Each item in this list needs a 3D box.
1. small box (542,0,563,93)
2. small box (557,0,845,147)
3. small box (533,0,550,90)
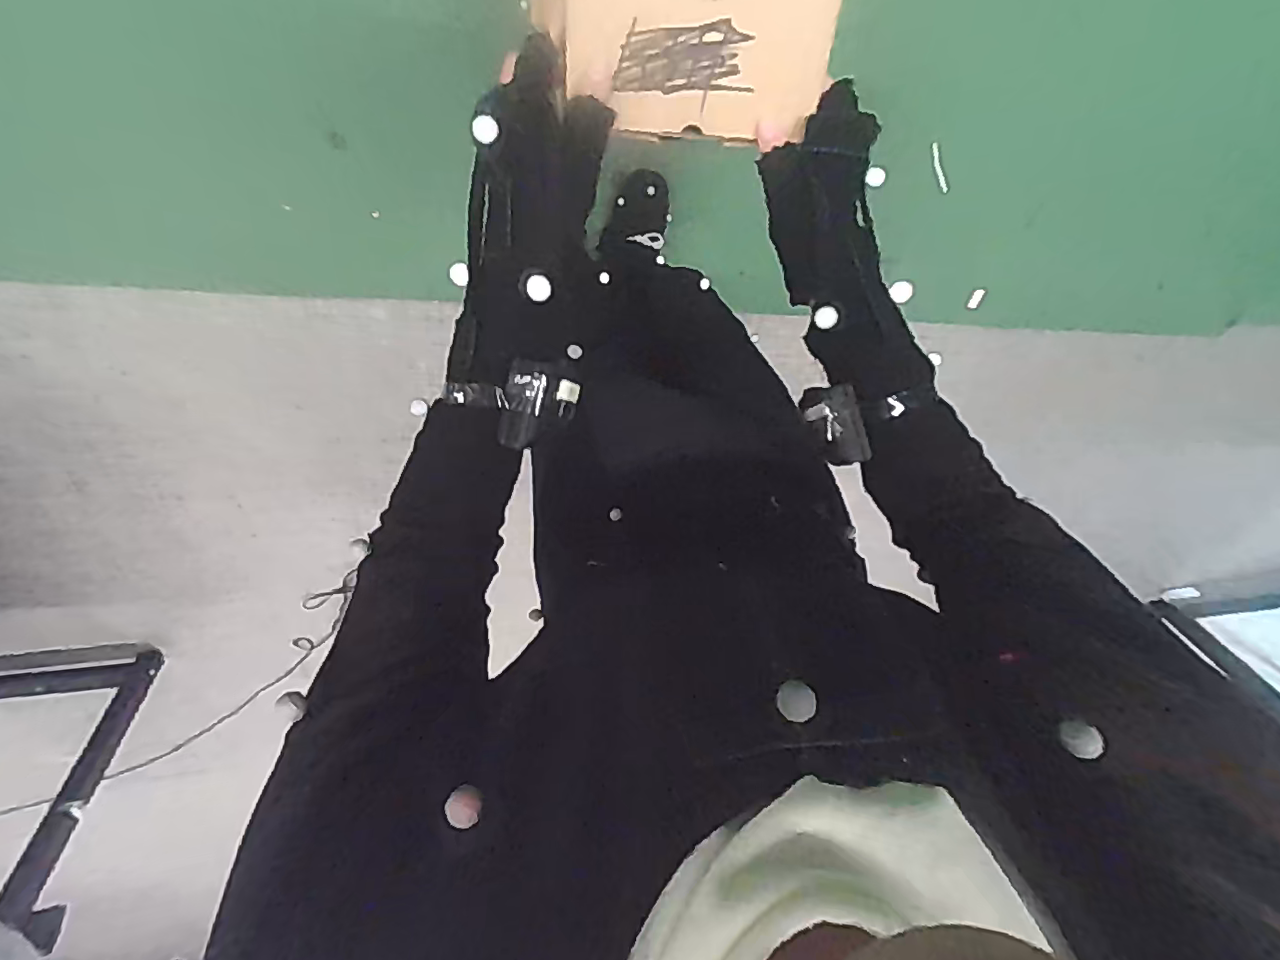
[{"bbox_3d":[-0.045,-0.619,0.725,0.168,0.176,0.179,0,128,-12],"label":"small box"},{"bbox_3d":[0.031,-0.339,0.359,0.168,0.176,0.179,-2,129,-9],"label":"small box"},{"bbox_3d":[-0.082,-0.717,0.851,0.168,0.176,0.179,0,130,-12],"label":"small box"}]
